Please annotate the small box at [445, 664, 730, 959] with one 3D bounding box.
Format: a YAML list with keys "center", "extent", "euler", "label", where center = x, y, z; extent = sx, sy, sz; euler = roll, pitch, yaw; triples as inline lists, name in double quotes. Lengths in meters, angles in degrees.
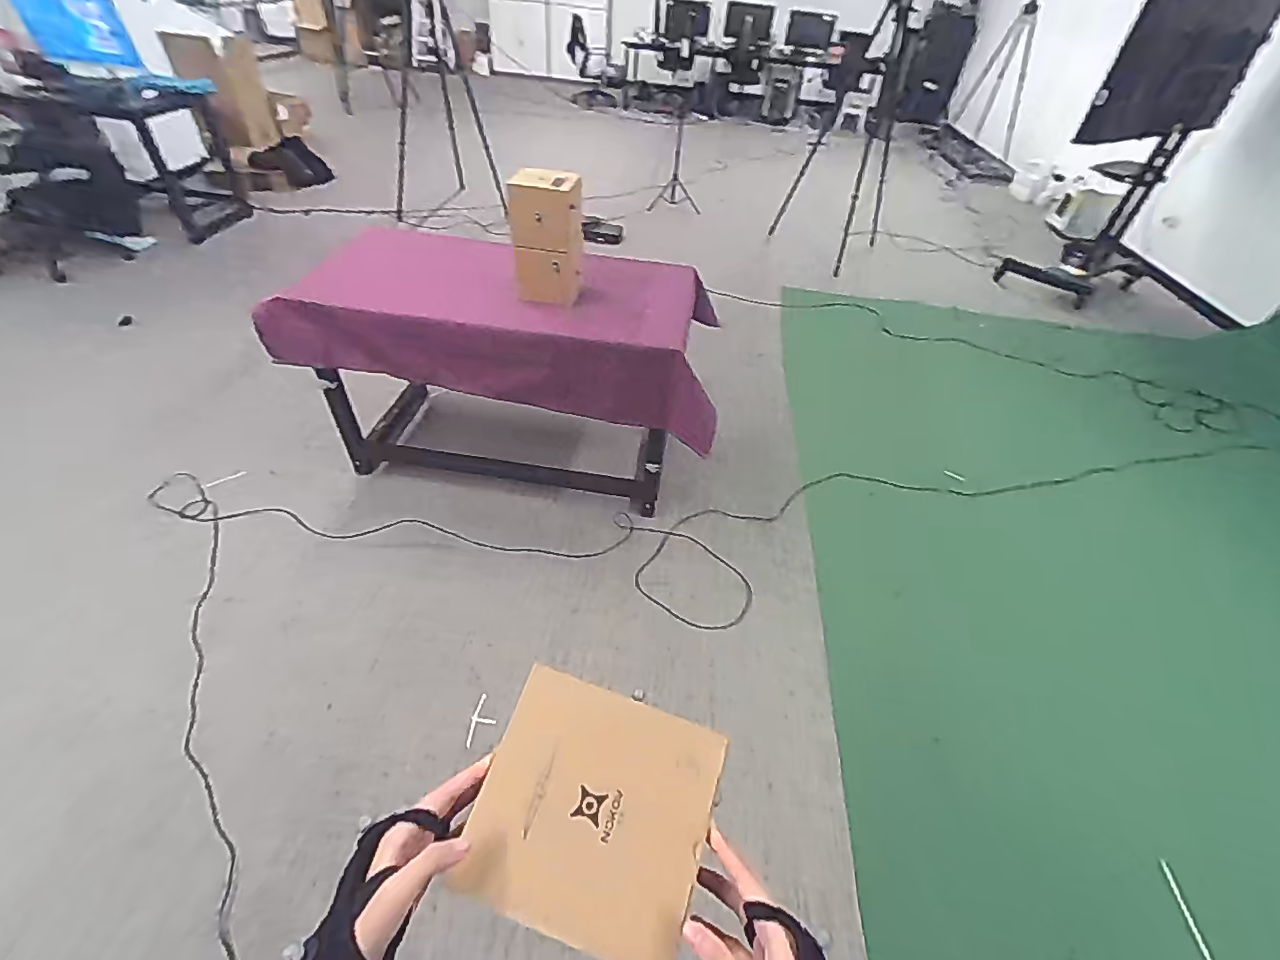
- center: [-0.036, 0.285, 0.484]
  extent: [0.179, 0.176, 0.168]
  euler: [18, 63, 8]
  label: "small box"

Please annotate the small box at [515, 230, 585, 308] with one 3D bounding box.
- center: [-0.275, -0.654, 1.685]
  extent: [0.179, 0.176, 0.168]
  euler: [9, 43, 4]
  label: "small box"
